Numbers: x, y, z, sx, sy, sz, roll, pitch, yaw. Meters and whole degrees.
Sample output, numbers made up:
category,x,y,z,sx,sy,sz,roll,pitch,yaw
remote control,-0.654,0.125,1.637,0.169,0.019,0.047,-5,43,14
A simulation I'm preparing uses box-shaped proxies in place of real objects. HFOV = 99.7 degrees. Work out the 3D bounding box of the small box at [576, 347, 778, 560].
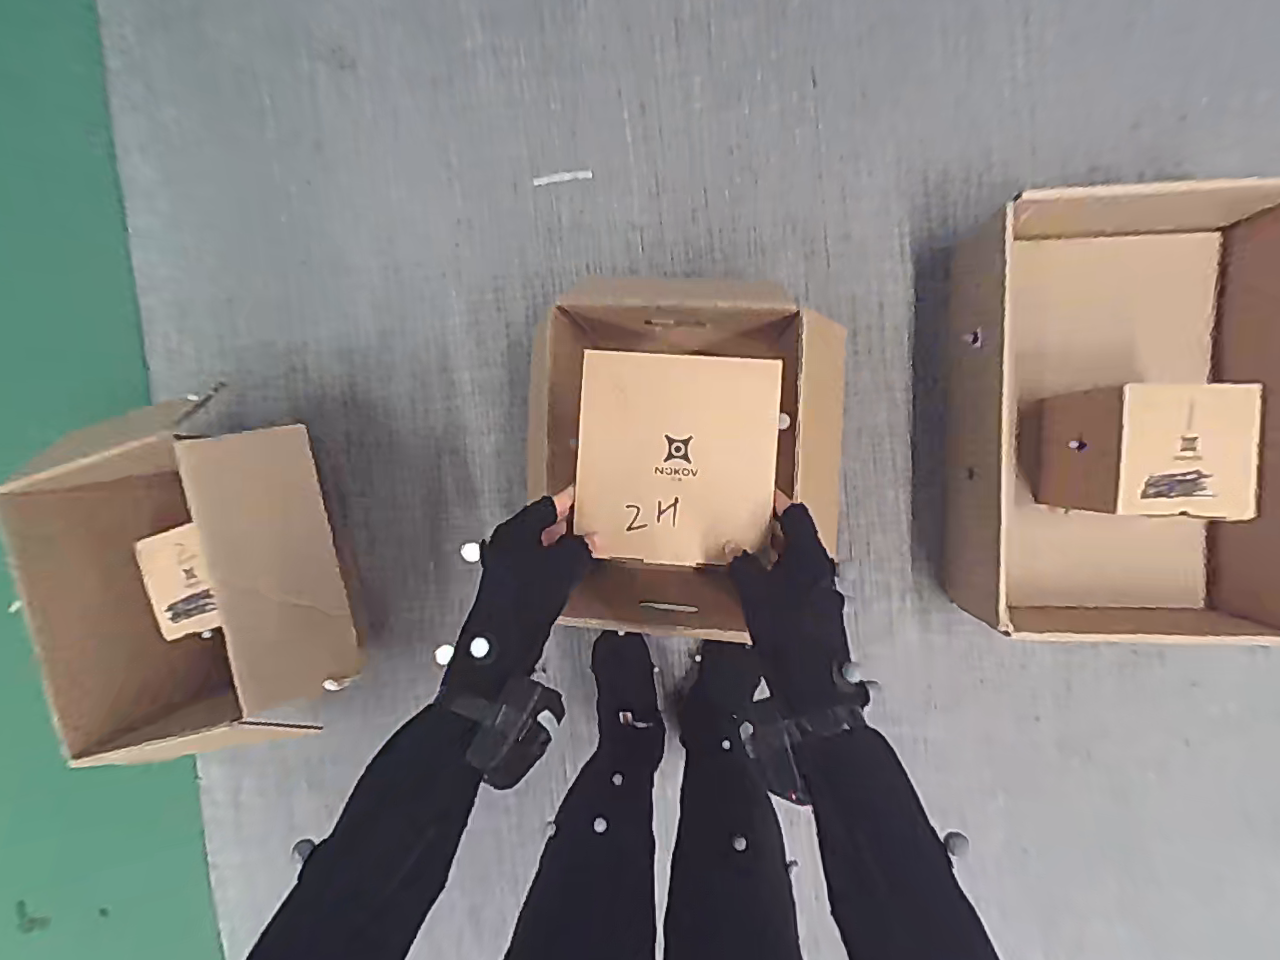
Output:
category,x,y,z,sx,sy,sz,roll,pitch,yaw
small box,0.034,-0.024,0.541,0.168,0.176,0.179,3,92,3

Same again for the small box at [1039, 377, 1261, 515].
category,x,y,z,sx,sy,sz,roll,pitch,yaw
small box,0.711,-0.048,0.777,0.168,0.176,0.179,2,92,5
